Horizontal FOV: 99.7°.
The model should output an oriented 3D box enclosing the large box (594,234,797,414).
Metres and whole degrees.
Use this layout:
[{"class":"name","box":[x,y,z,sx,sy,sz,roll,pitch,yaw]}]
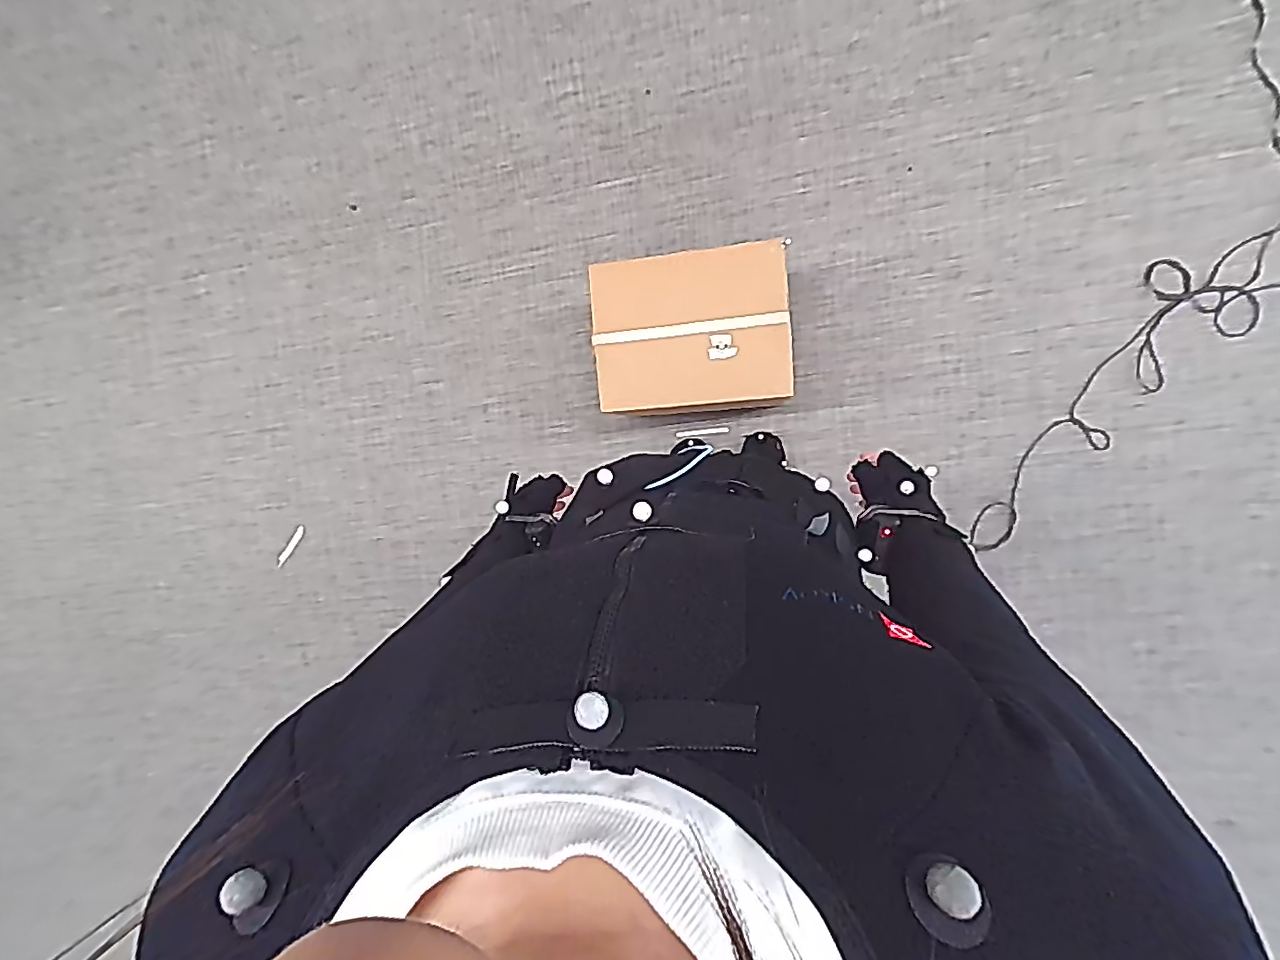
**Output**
[{"class":"large box","box":[0.134,-0.332,1.260,0.408,0.320,0.320,-4,95,10]}]
